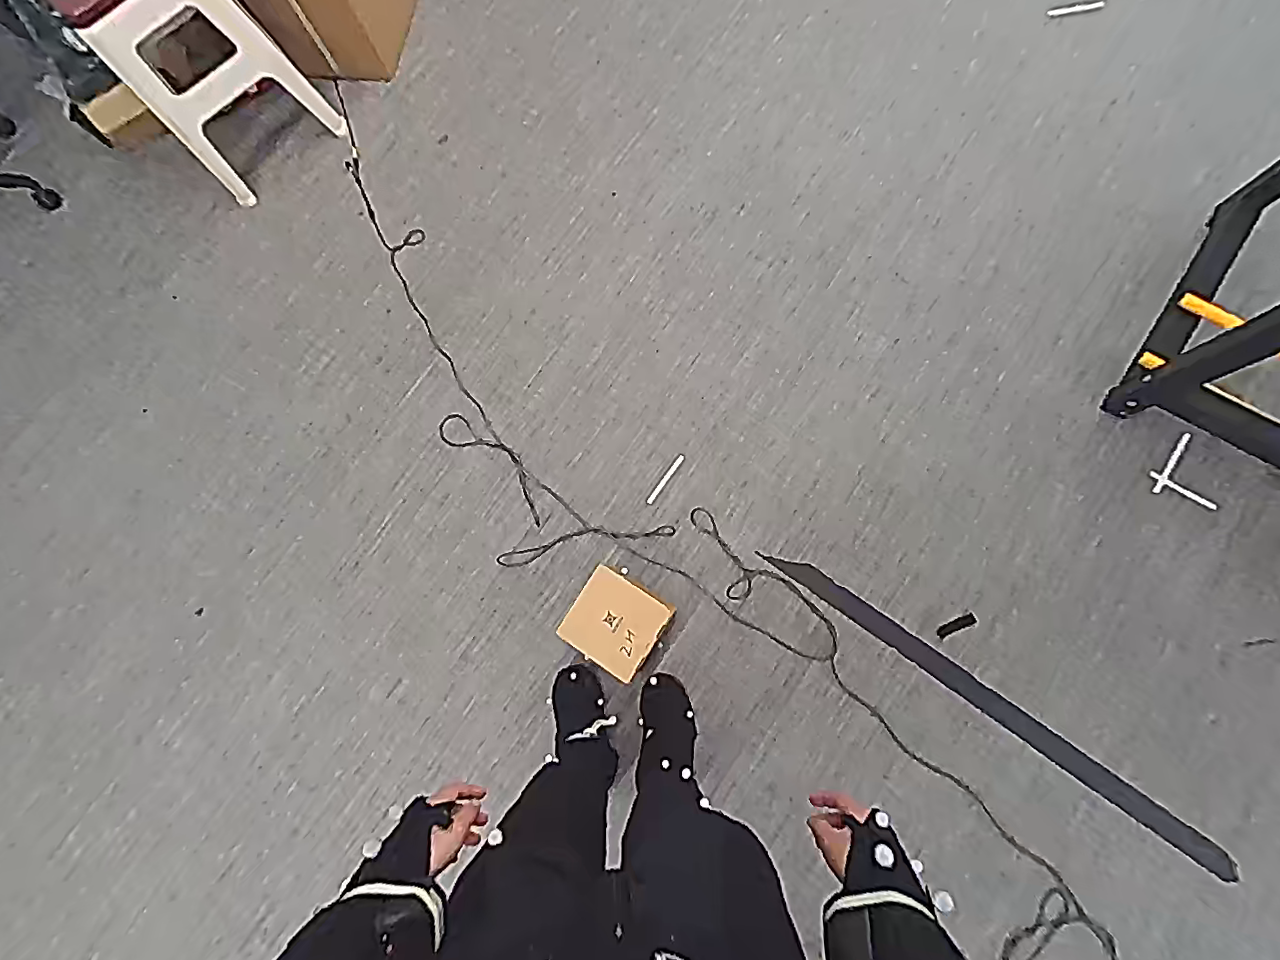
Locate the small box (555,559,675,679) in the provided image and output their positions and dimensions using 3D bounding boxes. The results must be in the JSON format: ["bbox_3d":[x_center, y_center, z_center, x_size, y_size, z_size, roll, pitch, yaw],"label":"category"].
[{"bbox_3d":[-0.044,0.284,1.123,0.179,0.176,0.168,32,85,11],"label":"small box"}]
